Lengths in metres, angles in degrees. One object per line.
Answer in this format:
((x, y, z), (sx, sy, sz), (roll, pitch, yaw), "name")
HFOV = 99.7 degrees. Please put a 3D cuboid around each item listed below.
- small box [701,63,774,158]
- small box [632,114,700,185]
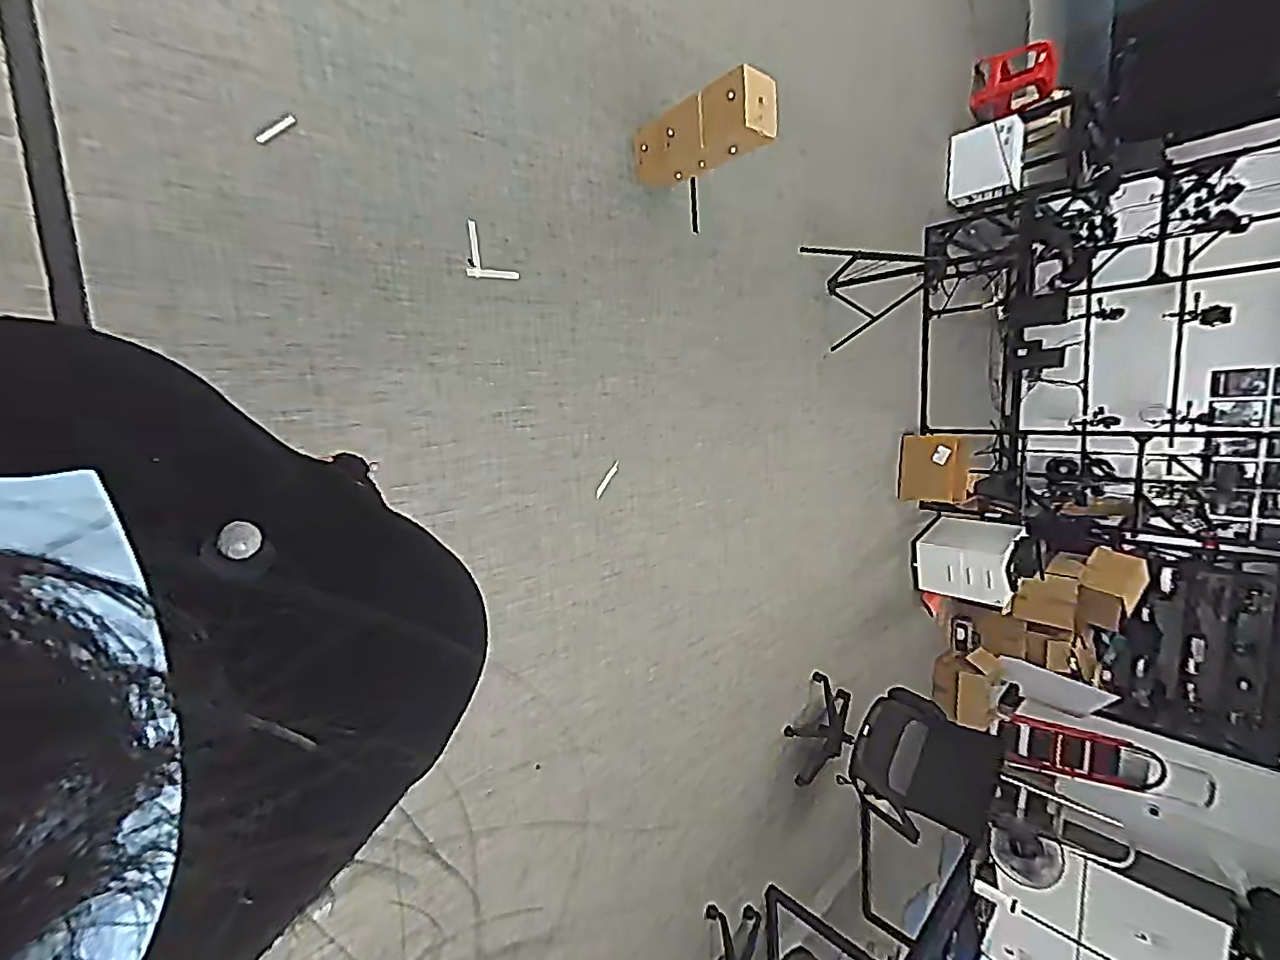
((0.309, -1.166, 1.721), (0.168, 0.176, 0.179), (-11, 102, -41), "small box")
((0.094, -1.193, 1.970), (0.179, 0.176, 0.168), (-18, 106, -40), "small box")
